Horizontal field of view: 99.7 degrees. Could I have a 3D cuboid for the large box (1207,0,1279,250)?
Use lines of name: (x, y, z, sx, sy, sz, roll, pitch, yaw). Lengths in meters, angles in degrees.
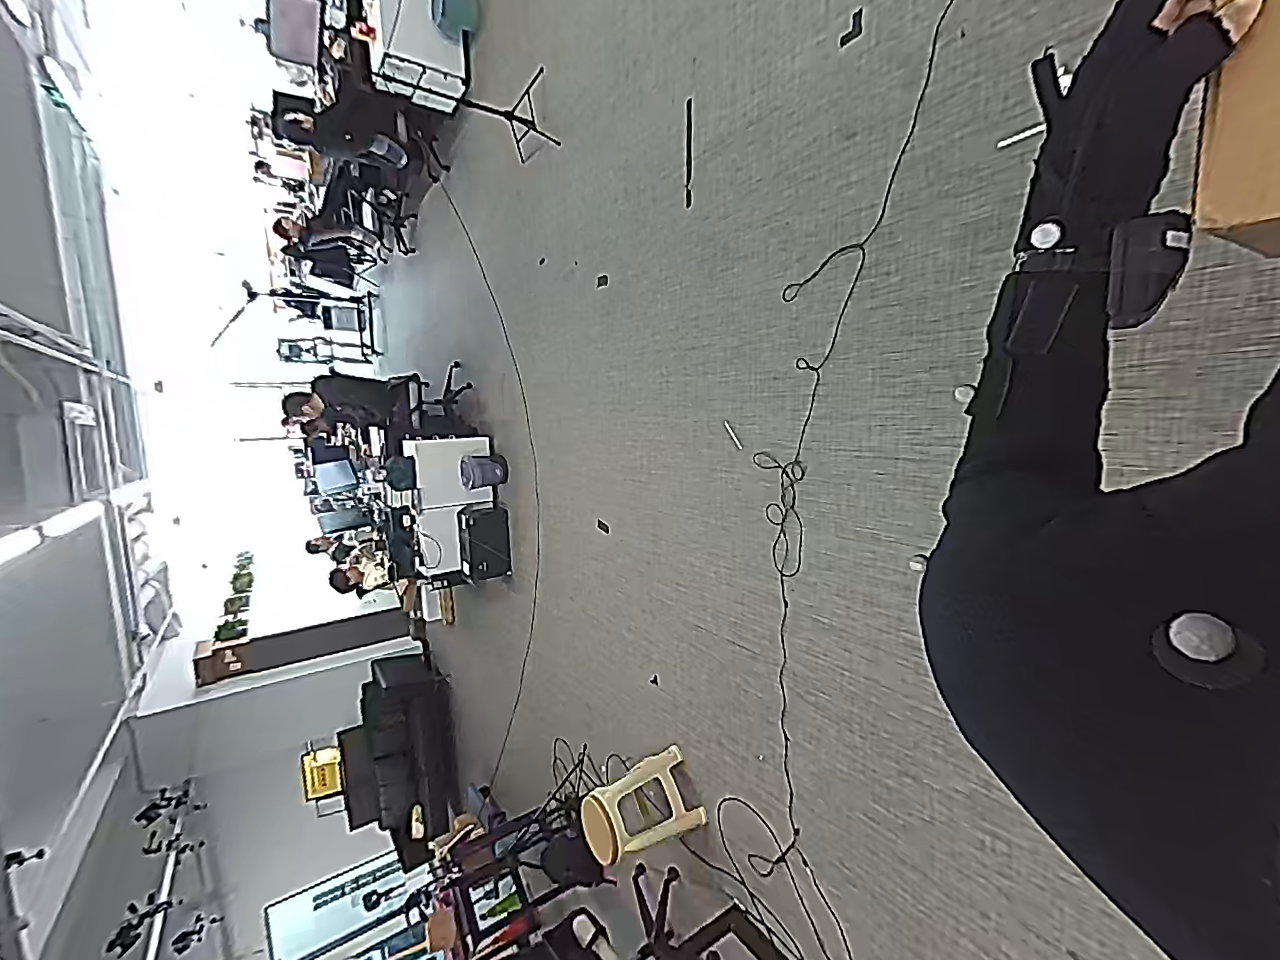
large box: (0.552, -0.311, 0.221, 0.408, 0.320, 0.320, 9, 109, 52)
